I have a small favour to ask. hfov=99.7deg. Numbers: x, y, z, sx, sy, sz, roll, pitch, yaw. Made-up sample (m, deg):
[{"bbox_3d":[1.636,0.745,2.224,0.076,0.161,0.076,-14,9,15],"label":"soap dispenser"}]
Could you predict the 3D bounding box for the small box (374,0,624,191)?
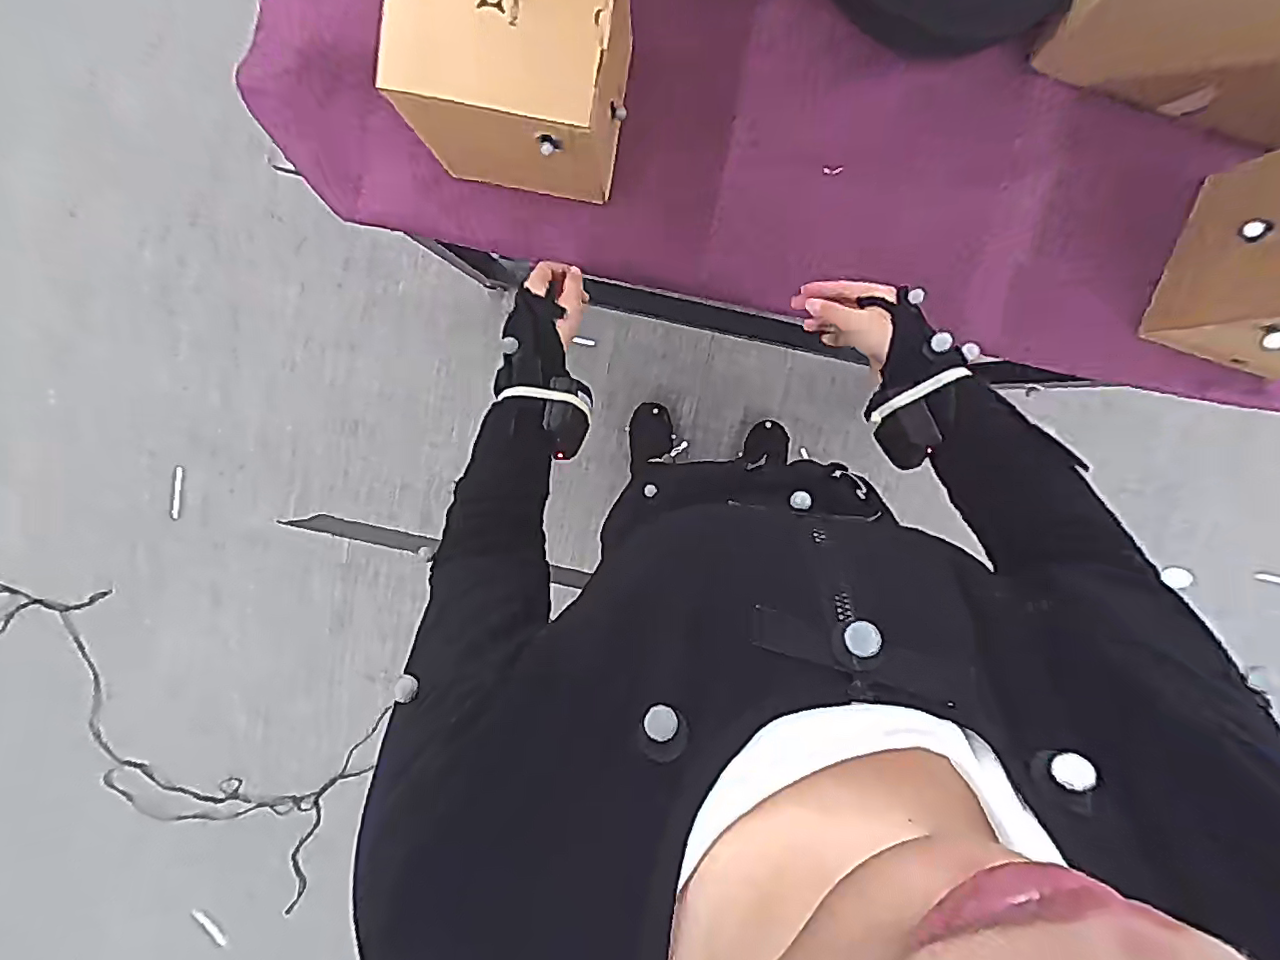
[{"bbox_3d":[-0.113,-0.391,0.499,0.179,0.176,0.168,9,98,-2],"label":"small box"}]
